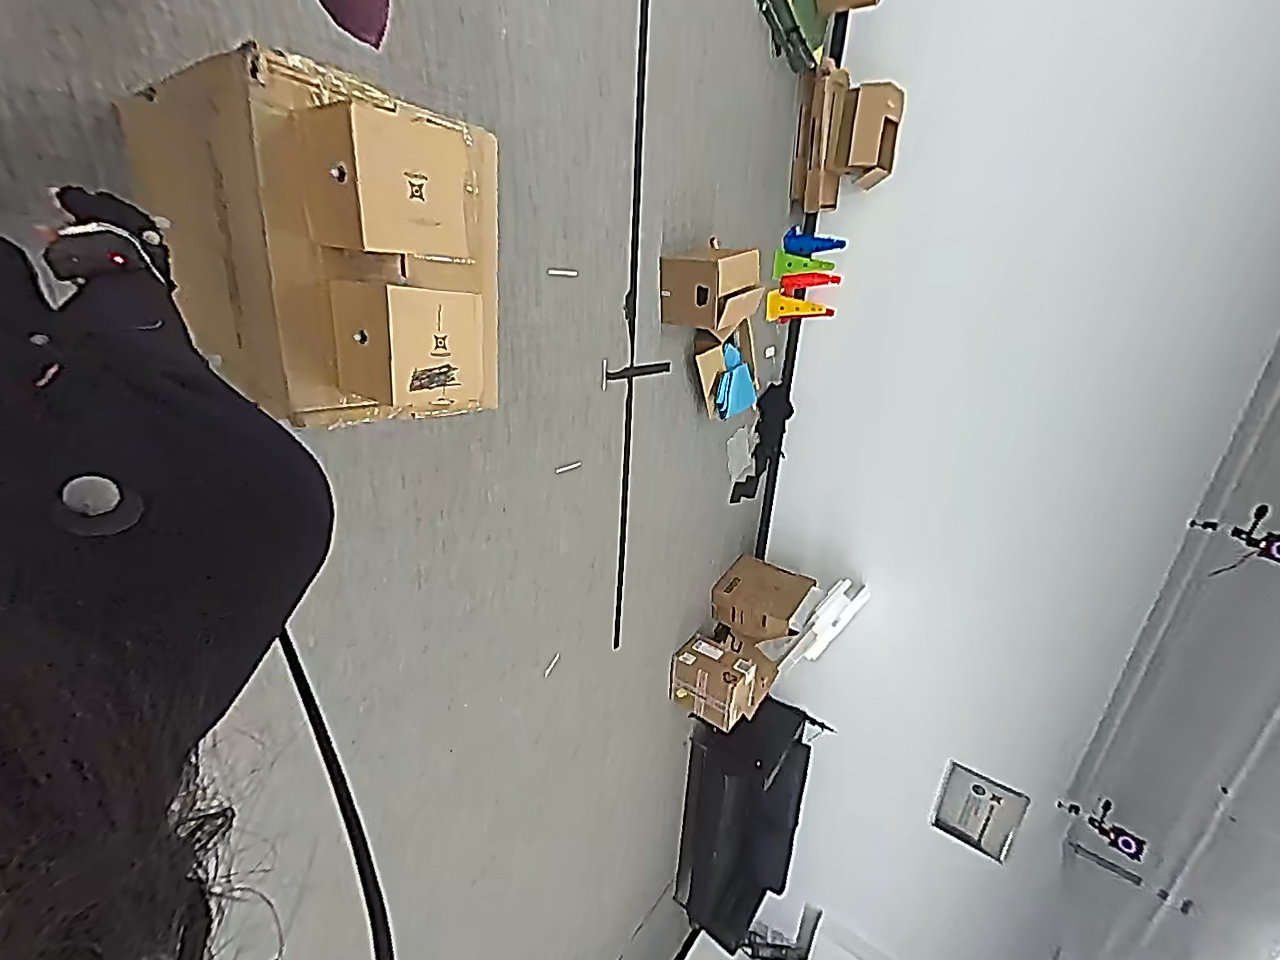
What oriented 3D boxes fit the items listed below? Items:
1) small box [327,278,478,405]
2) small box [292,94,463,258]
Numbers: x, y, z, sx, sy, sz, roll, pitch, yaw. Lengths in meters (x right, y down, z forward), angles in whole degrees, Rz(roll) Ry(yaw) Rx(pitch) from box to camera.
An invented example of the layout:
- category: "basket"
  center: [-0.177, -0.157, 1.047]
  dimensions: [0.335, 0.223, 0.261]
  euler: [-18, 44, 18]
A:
- category: "small box"
  center: [-0.385, -0.226, 0.881]
  dimensions: [0.168, 0.176, 0.179]
  euler: [-17, 117, -52]
- category: "small box"
  center: [-0.381, -0.430, 0.791]
  dimensions: [0.168, 0.176, 0.179]
  euler: [-20, 123, -50]
